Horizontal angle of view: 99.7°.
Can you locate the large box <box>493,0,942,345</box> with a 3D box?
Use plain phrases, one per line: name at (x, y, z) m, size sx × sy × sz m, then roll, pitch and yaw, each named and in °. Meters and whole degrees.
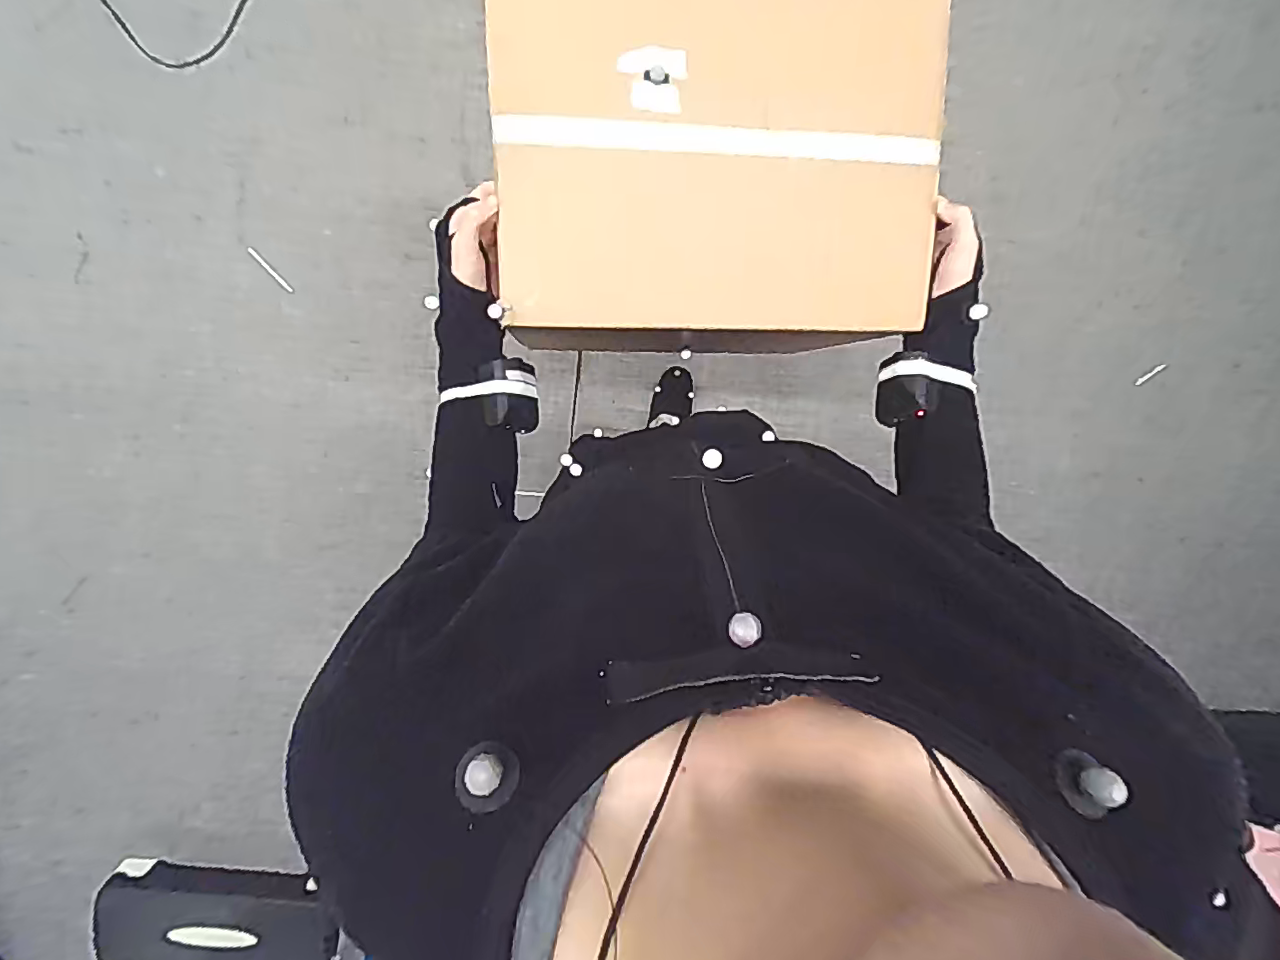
large box at (0.062, -0.325, 0.635) m, size 0.408 × 0.320 × 0.320 m, roll -1°, pitch 99°, yaw -6°
